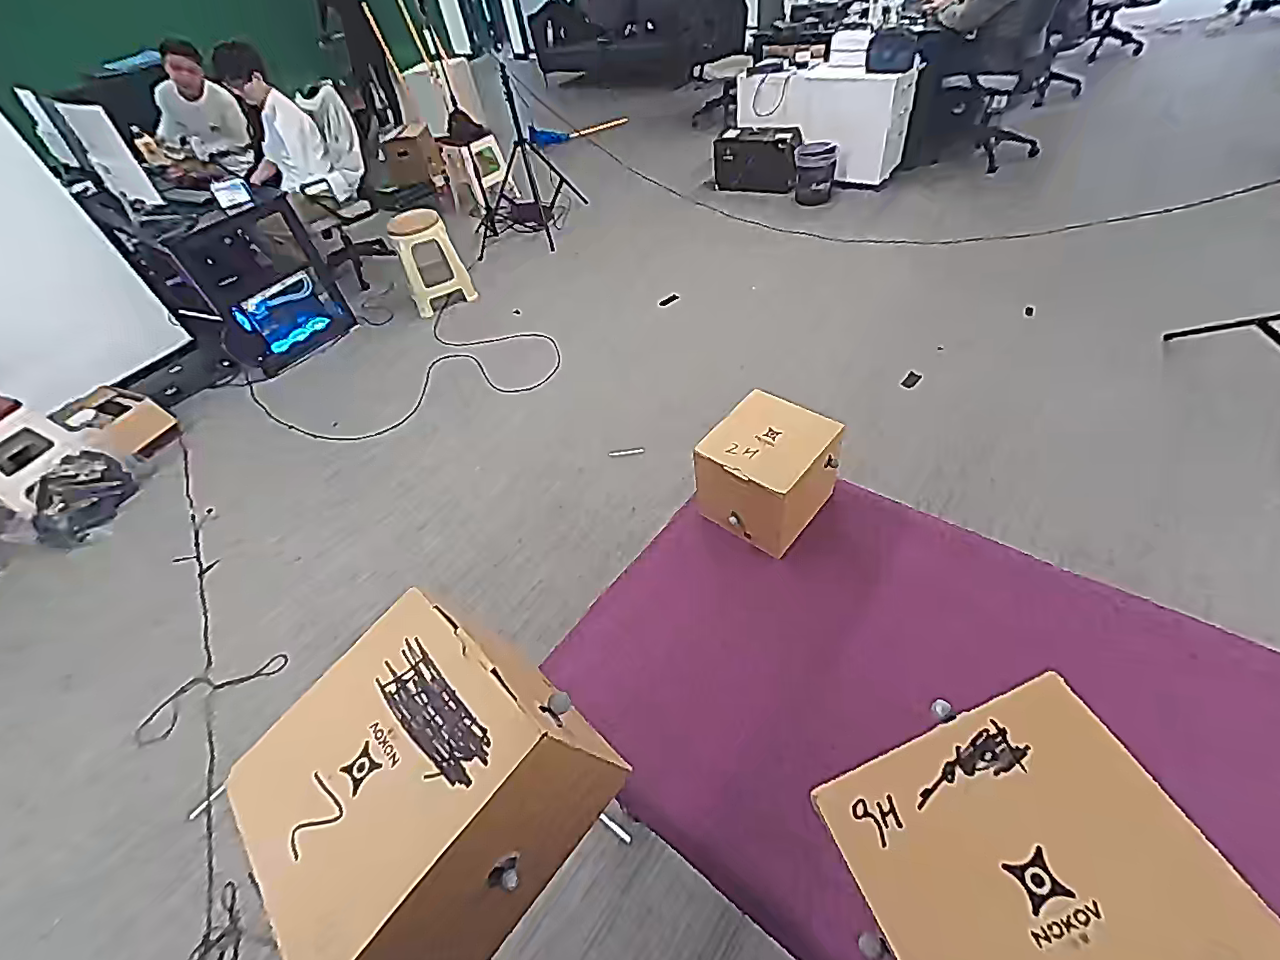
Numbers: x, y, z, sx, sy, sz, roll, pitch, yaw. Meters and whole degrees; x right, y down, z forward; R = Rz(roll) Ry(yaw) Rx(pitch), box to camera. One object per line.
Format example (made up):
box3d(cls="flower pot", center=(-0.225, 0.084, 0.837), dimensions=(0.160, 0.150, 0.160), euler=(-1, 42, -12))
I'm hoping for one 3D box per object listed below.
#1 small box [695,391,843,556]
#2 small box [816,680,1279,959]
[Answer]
box3d(cls="small box", center=(0.209, -0.010, 0.900), dimensions=(0.168, 0.176, 0.179), euler=(30, 61, 31))
box3d(cls="small box", center=(0.231, 0.258, 0.342), dimensions=(0.168, 0.176, 0.179), euler=(-27, 53, 0))
